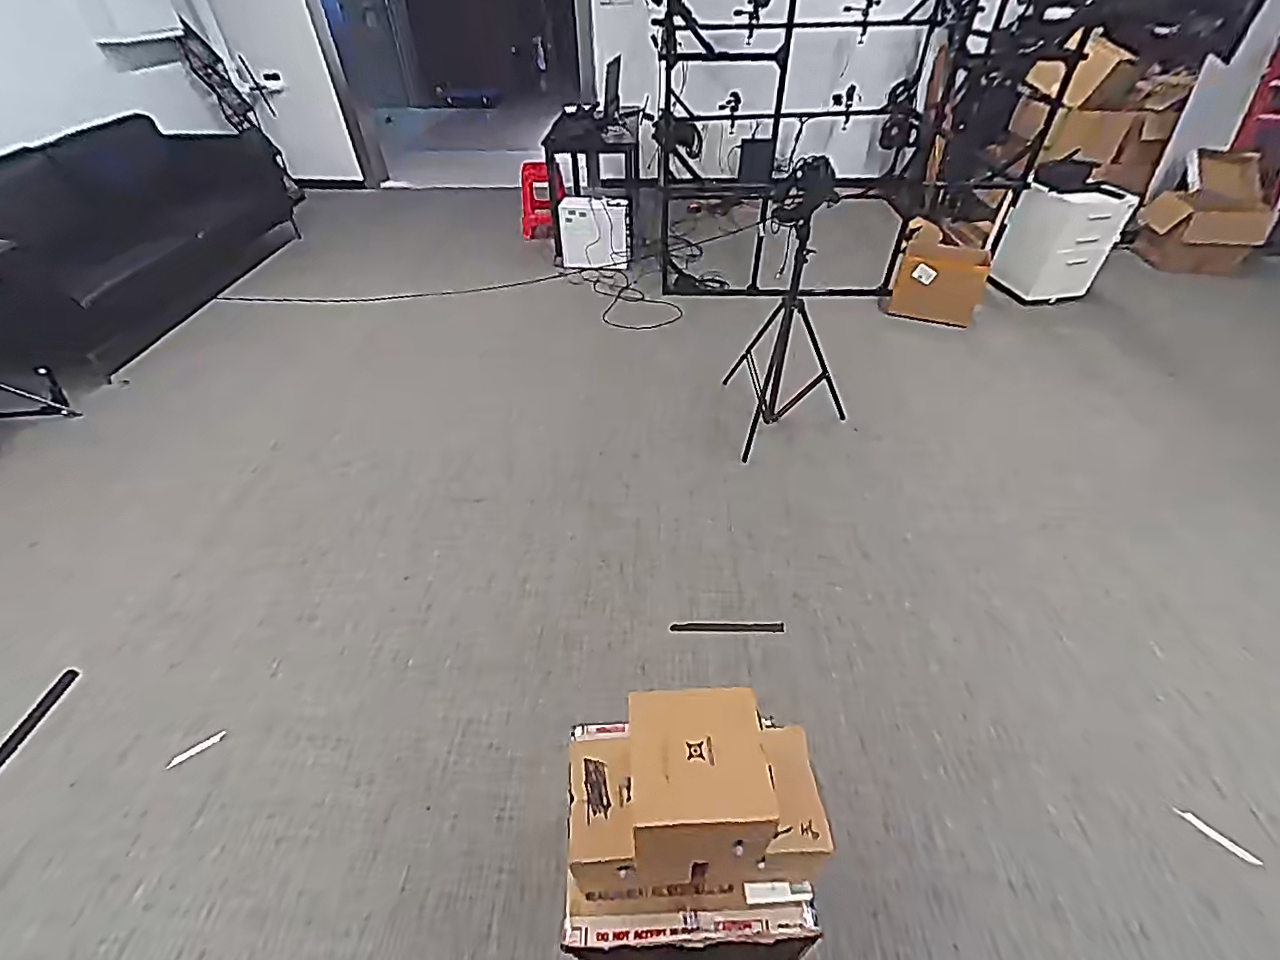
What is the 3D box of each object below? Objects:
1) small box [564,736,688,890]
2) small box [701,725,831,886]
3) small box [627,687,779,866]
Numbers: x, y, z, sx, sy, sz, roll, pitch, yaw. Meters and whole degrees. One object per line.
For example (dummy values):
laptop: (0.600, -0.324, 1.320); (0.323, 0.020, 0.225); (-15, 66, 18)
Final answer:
small box: (-0.019, 0.520, 0.847); (0.179, 0.176, 0.168); (-4, 42, -2)
small box: (0.178, 0.512, 0.854); (0.168, 0.176, 0.179); (0, 41, -2)
small box: (0.072, 0.401, 0.733); (0.179, 0.176, 0.168); (-3, 41, -2)
